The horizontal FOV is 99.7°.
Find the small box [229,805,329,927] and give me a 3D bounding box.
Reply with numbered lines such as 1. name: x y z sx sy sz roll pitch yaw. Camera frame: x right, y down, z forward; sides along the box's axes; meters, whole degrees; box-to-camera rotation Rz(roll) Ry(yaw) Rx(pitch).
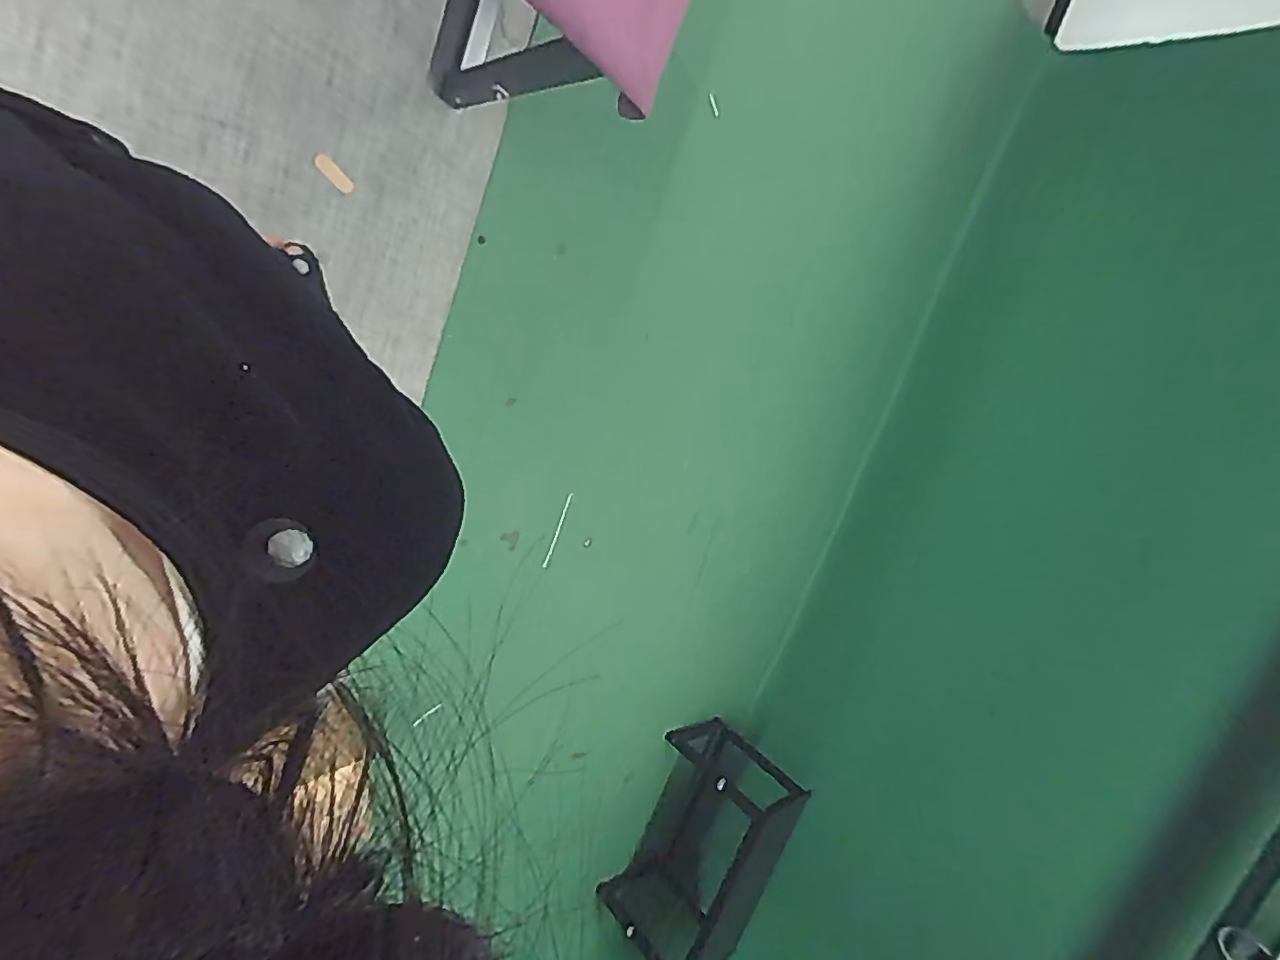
1. small box: -0.893 0.955 1.337 0.179 0.176 0.168 -4 112 -44

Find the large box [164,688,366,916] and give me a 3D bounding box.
1. large box: -1.036 0.864 1.516 0.408 0.320 0.320 -9 118 -44
